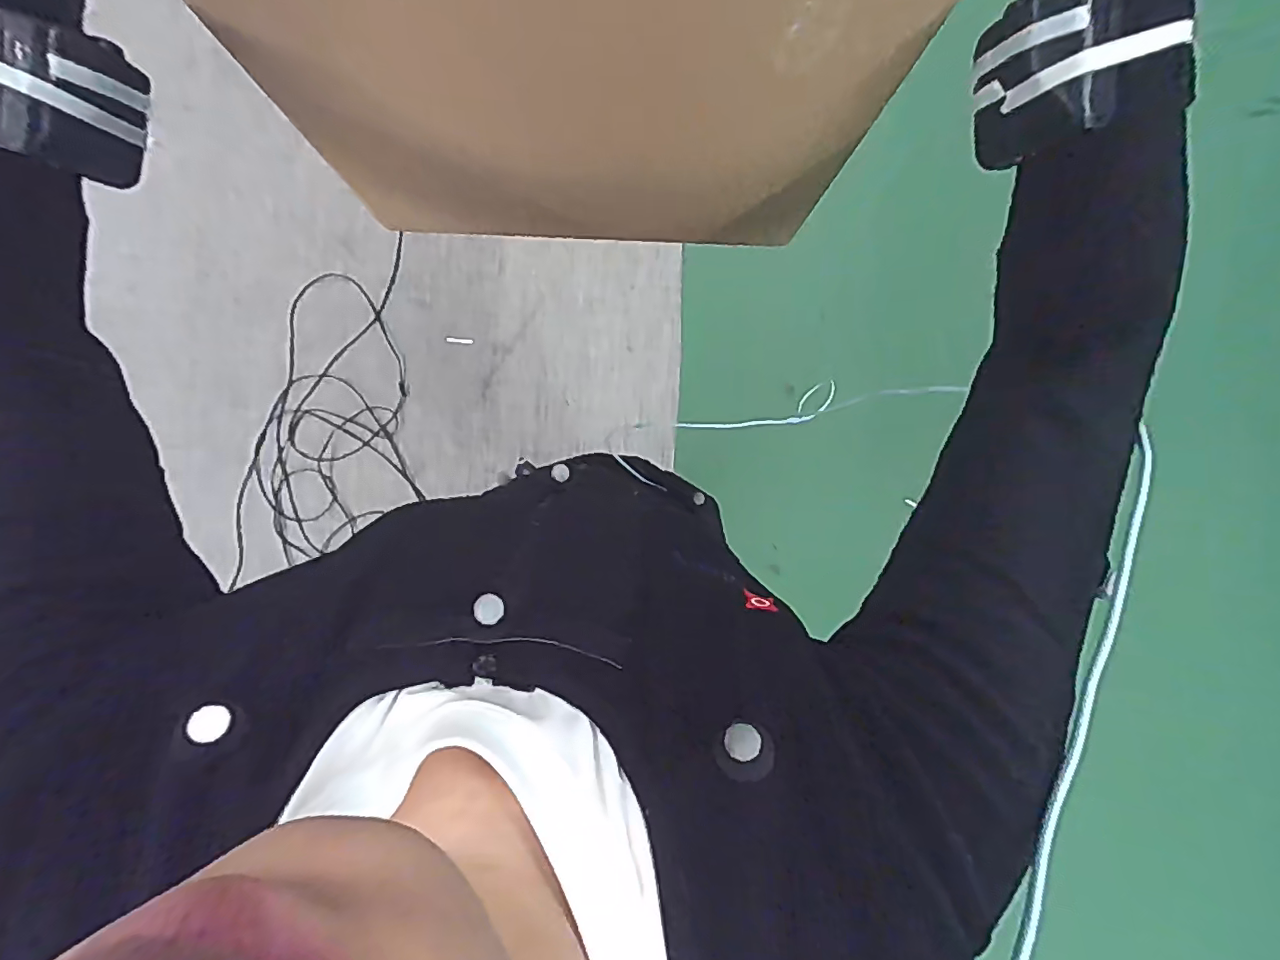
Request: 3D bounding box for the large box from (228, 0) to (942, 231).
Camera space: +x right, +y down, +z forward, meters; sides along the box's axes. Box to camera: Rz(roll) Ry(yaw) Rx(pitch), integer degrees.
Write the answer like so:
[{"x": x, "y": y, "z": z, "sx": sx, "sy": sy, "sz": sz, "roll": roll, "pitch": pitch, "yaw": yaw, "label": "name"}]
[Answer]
[{"x": -0.037, "y": -0.407, "z": 0.397, "sx": 0.408, "sy": 0.320, "sz": 0.320, "roll": 1, "pitch": 89, "yaw": -4, "label": "large box"}]
